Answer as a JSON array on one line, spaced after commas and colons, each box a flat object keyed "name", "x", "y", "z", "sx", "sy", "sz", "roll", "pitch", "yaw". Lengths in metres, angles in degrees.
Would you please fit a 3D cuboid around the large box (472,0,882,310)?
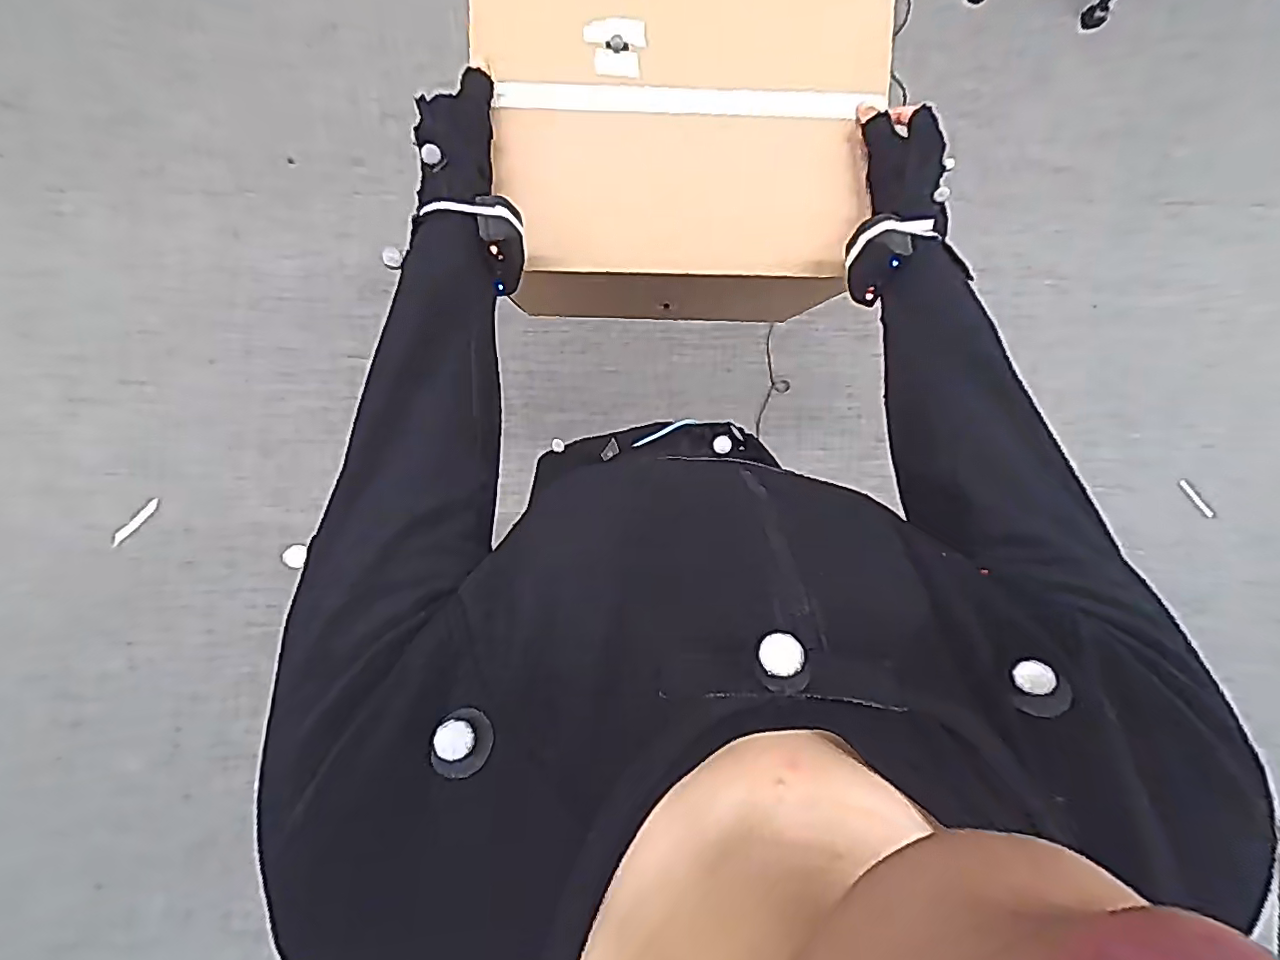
[{"name": "large box", "x": 0.034, "y": -0.392, "z": 0.680, "sx": 0.408, "sy": 0.320, "sz": 0.320, "roll": 0, "pitch": 98, "yaw": -2}]
